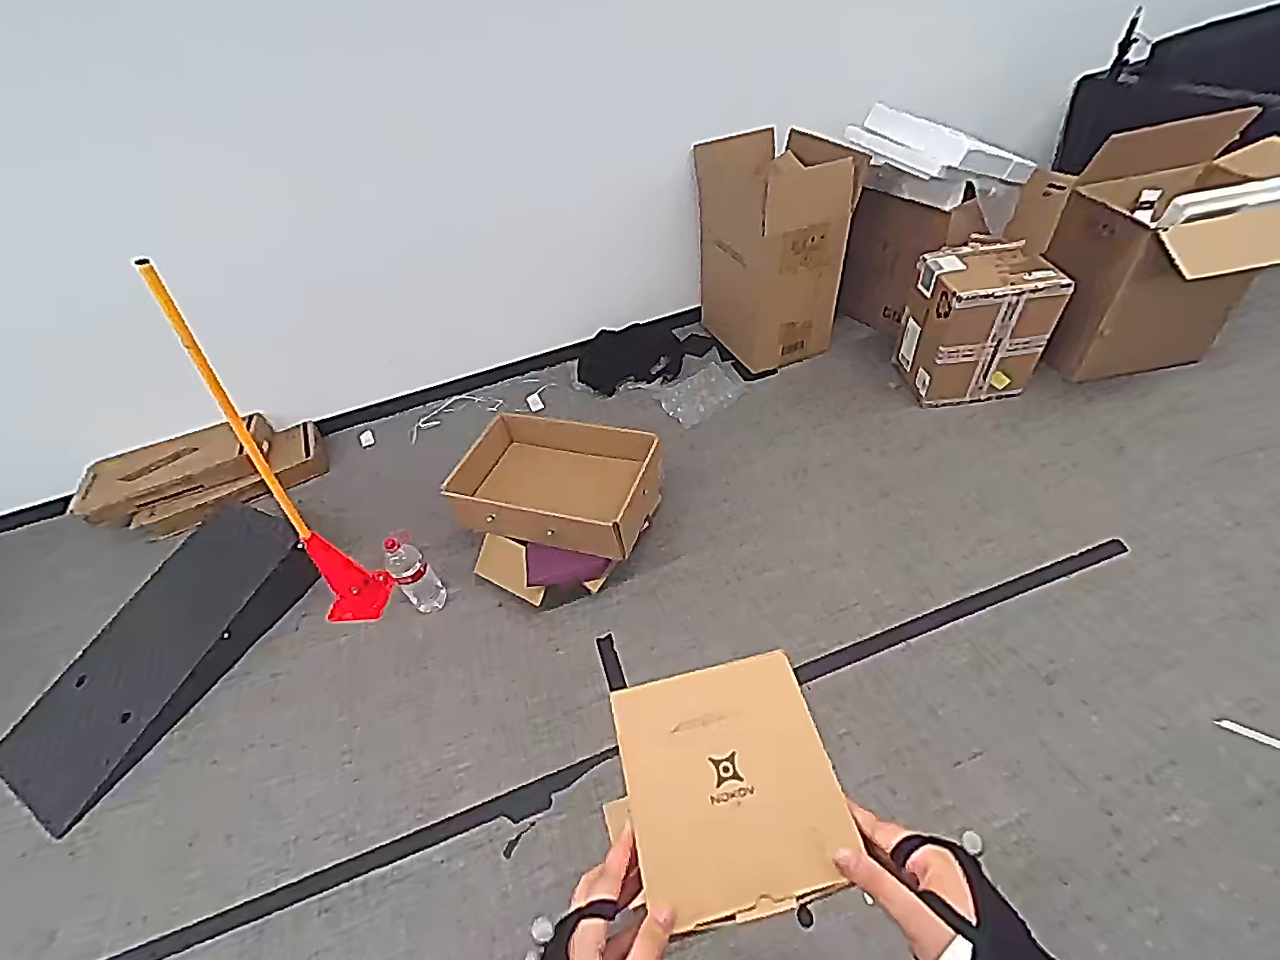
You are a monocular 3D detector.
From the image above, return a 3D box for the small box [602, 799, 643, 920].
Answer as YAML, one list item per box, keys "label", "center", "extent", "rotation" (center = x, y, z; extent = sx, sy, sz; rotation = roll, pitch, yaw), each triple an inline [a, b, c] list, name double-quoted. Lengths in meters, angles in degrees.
- label: "small box"
  center: [0.034, 0.730, 1.066]
  extent: [0.168, 0.176, 0.179]
  rotation: [-18, 47, -8]

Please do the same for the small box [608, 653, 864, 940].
- label: "small box"
  center: [0.073, 0.289, 0.495]
  extent: [0.168, 0.176, 0.179]
  rotation: [-12, 49, -5]
